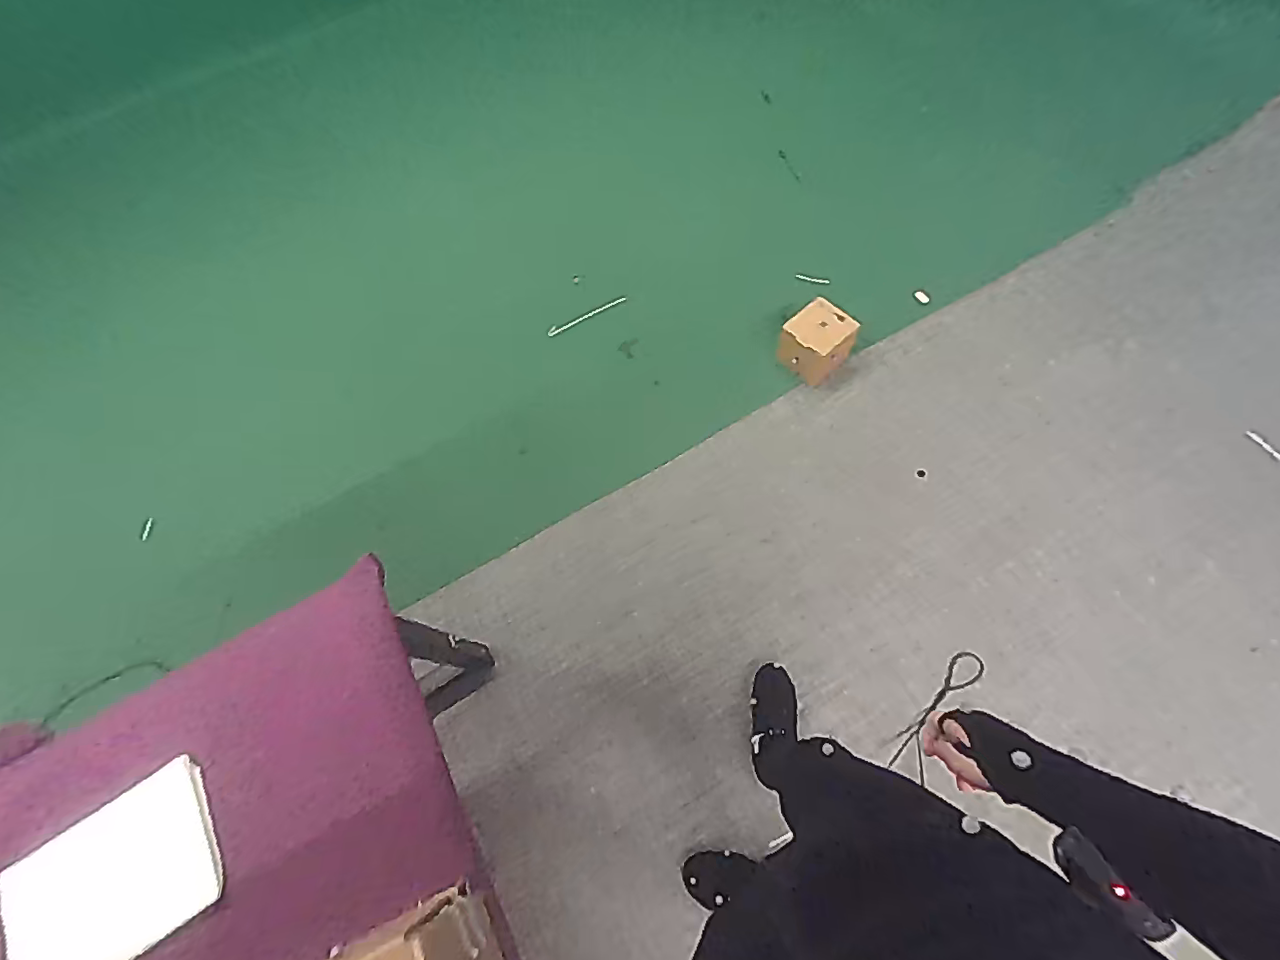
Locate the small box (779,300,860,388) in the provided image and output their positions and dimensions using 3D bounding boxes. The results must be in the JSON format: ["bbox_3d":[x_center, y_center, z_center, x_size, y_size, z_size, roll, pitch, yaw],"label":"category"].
[{"bbox_3d":[0.567,-0.430,1.739,0.179,0.176,0.168,-40,70,-12],"label":"small box"}]
